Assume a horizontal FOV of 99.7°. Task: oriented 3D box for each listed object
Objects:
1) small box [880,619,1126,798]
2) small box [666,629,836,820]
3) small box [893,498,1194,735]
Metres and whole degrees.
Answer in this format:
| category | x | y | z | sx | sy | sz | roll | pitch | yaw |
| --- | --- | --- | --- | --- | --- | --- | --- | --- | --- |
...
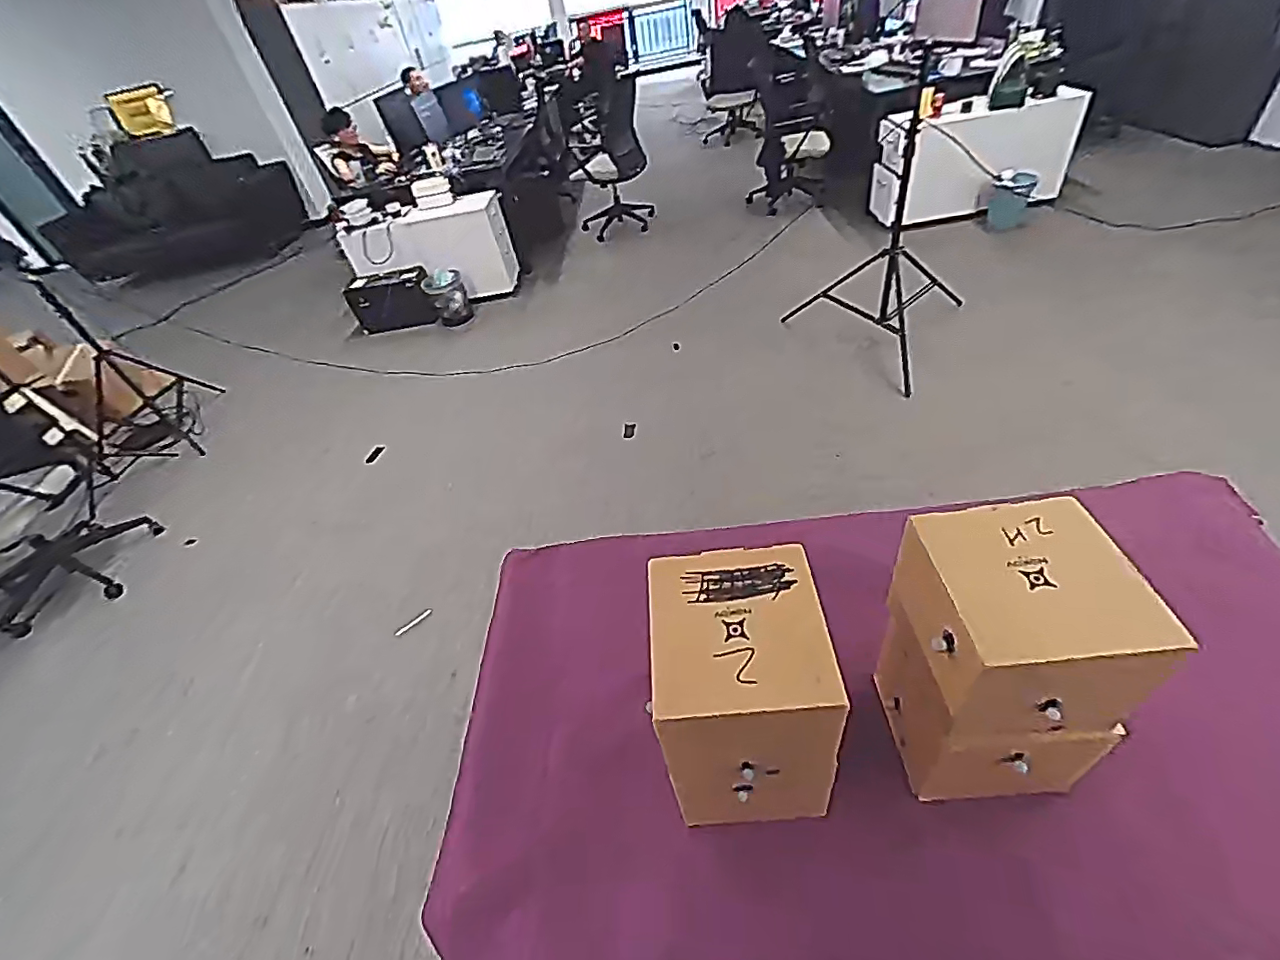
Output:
| category | x | y | z | sx | sy | sz | roll | pitch | yaw |
| --- | --- | --- | --- | --- | --- | --- | --- | --- | --- |
| small box | 0.416 | 0.270 | 0.660 | 0.179 | 0.176 | 0.168 | -8 | 42 | 7 |
| small box | 0.133 | 0.311 | 0.682 | 0.179 | 0.176 | 0.168 | -7 | 43 | 5 |
| small box | 0.381 | 0.146 | 0.557 | 0.168 | 0.176 | 0.179 | -7 | 42 | 6 |
